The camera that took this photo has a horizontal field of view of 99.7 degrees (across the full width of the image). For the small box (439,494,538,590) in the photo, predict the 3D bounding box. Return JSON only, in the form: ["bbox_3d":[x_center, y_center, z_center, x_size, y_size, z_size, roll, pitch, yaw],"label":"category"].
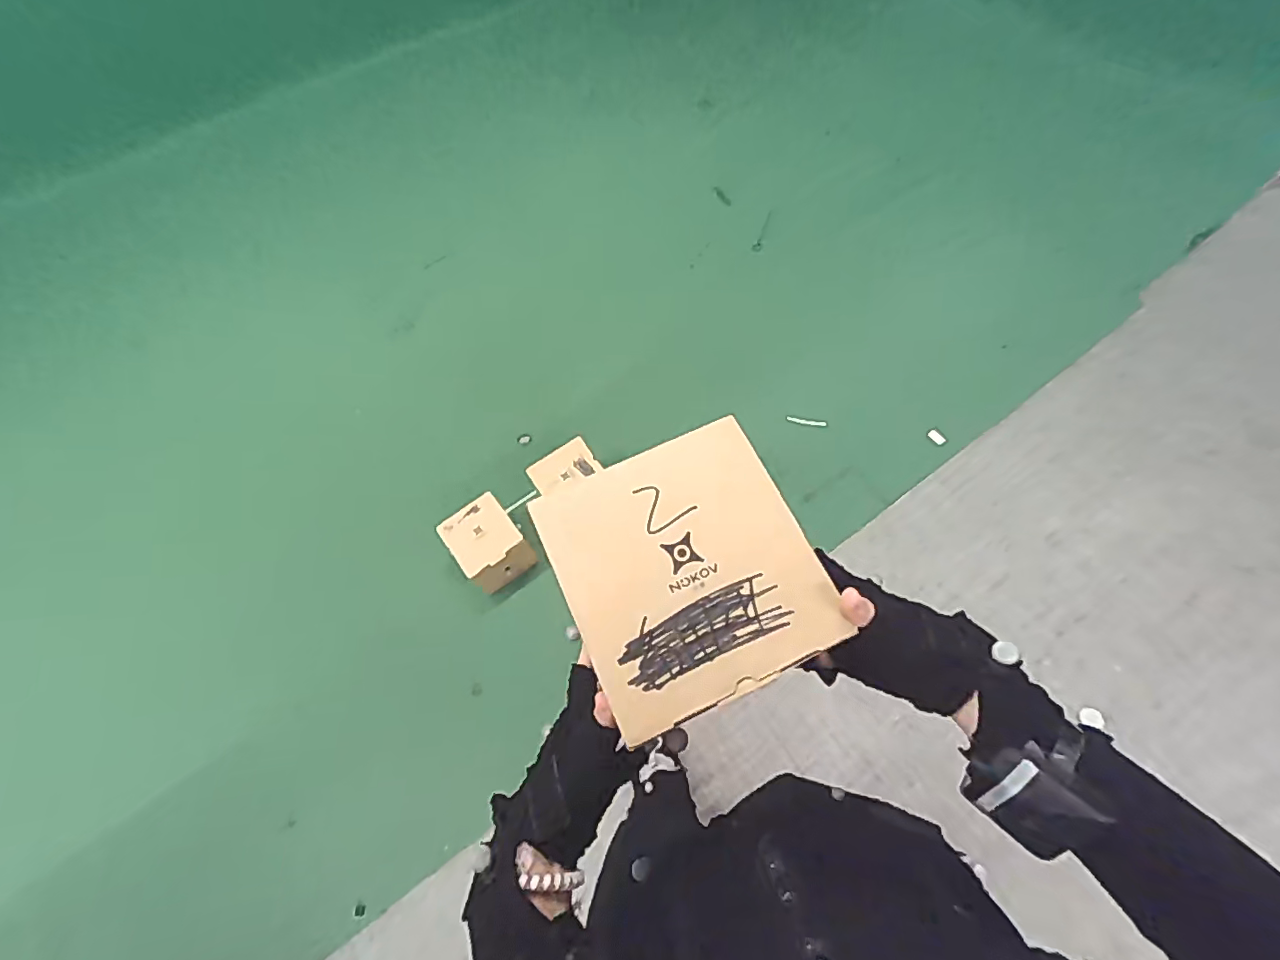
[{"bbox_3d":[-0.391,0.172,1.427,0.168,0.176,0.179,-36,69,-13],"label":"small box"}]

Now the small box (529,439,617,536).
[{"bbox_3d":[-0.175,0.025,1.483,0.179,0.176,0.168,-33,67,-11],"label":"small box"}]
